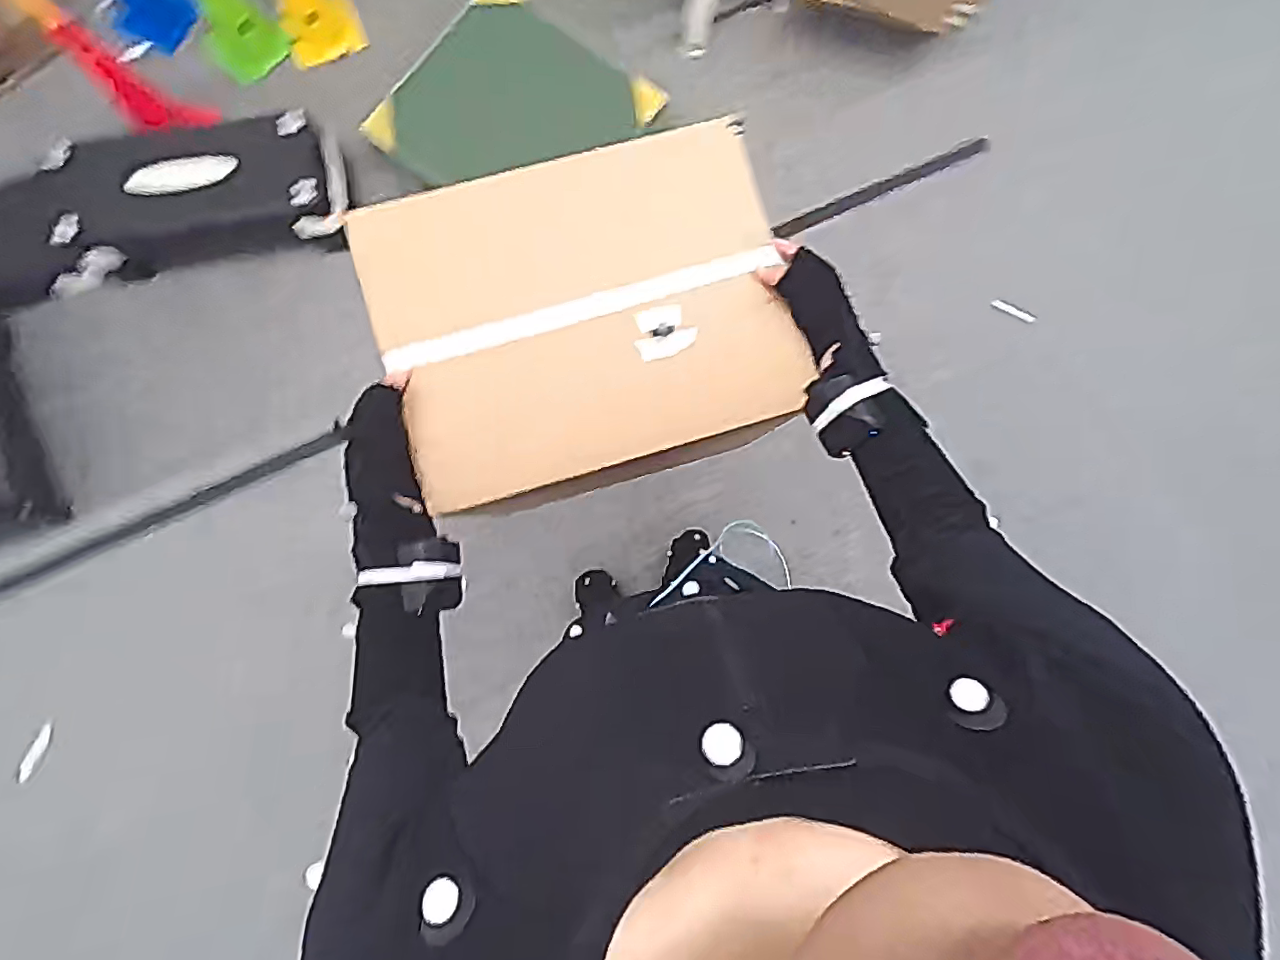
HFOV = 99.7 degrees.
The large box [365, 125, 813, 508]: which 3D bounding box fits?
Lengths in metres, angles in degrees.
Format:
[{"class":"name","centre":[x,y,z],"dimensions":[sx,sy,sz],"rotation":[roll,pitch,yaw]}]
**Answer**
[{"class":"large box","centre":[-0.060,-0.167,0.701],"dimensions":[0.408,0.320,0.320],"rotation":[-16,88,-4]}]
